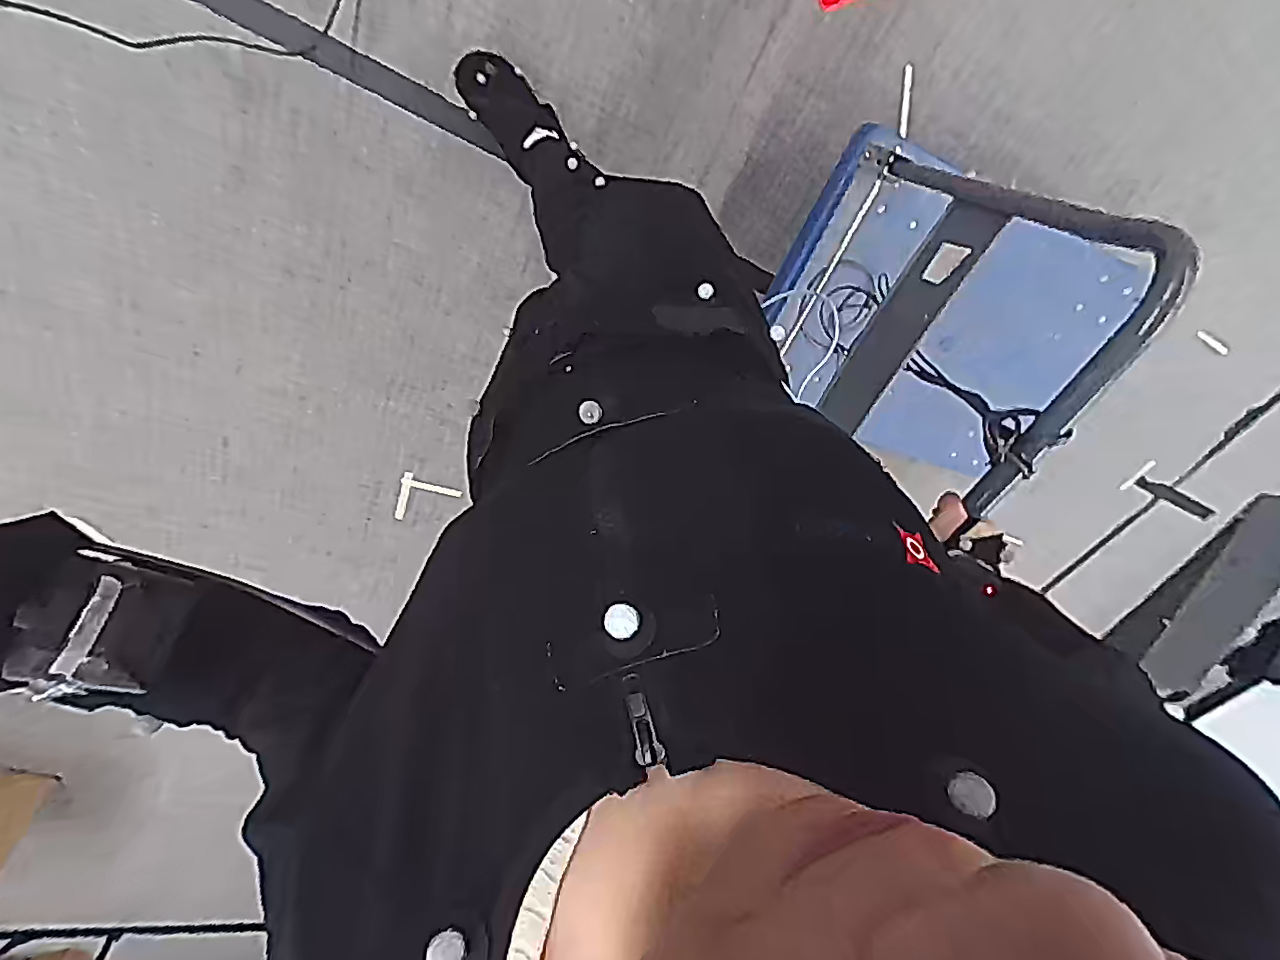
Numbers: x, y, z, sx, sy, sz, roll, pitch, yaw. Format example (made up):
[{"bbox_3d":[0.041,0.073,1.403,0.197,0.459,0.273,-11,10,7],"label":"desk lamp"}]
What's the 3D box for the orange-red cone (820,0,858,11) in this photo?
[{"bbox_3d":[0.413,-0.839,0.777,0.198,0.360,0.199,-19,129,5],"label":"orange-red cone"}]
